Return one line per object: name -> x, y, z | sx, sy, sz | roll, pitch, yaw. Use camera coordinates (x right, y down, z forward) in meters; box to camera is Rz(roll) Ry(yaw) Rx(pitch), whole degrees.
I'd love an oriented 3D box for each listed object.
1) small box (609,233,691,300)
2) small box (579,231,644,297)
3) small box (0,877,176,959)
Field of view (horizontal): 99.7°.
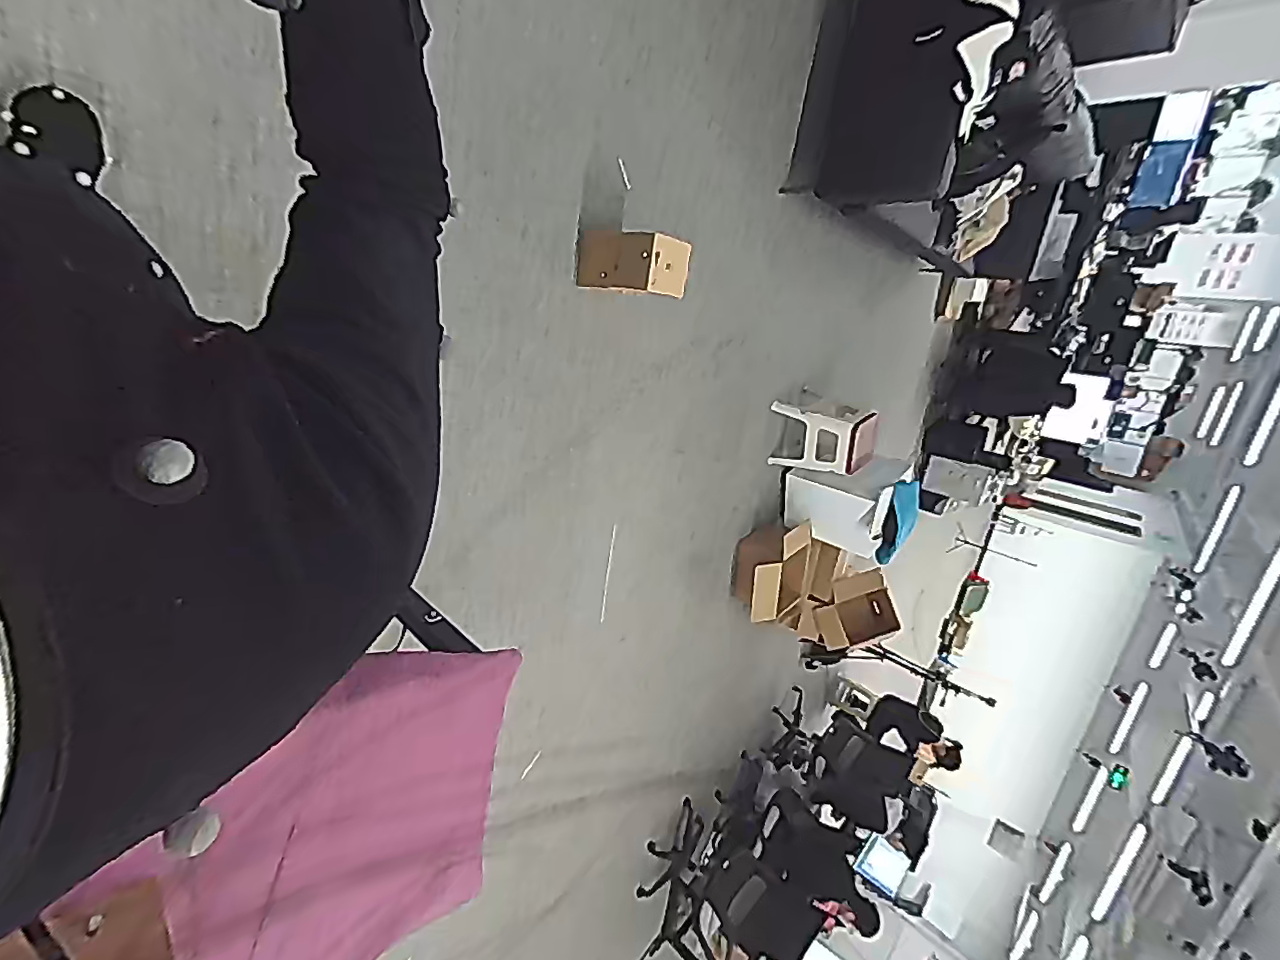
small box -> 0.031, -0.674, 1.704 | 0.179, 0.176, 0.168 | -8, 113, -48
small box -> -0.087, -0.721, 1.808 | 0.168, 0.176, 0.179 | -8, 113, -47
small box -> -0.655, 0.625, 0.626 | 0.168, 0.176, 0.179 | -1, 107, -50
